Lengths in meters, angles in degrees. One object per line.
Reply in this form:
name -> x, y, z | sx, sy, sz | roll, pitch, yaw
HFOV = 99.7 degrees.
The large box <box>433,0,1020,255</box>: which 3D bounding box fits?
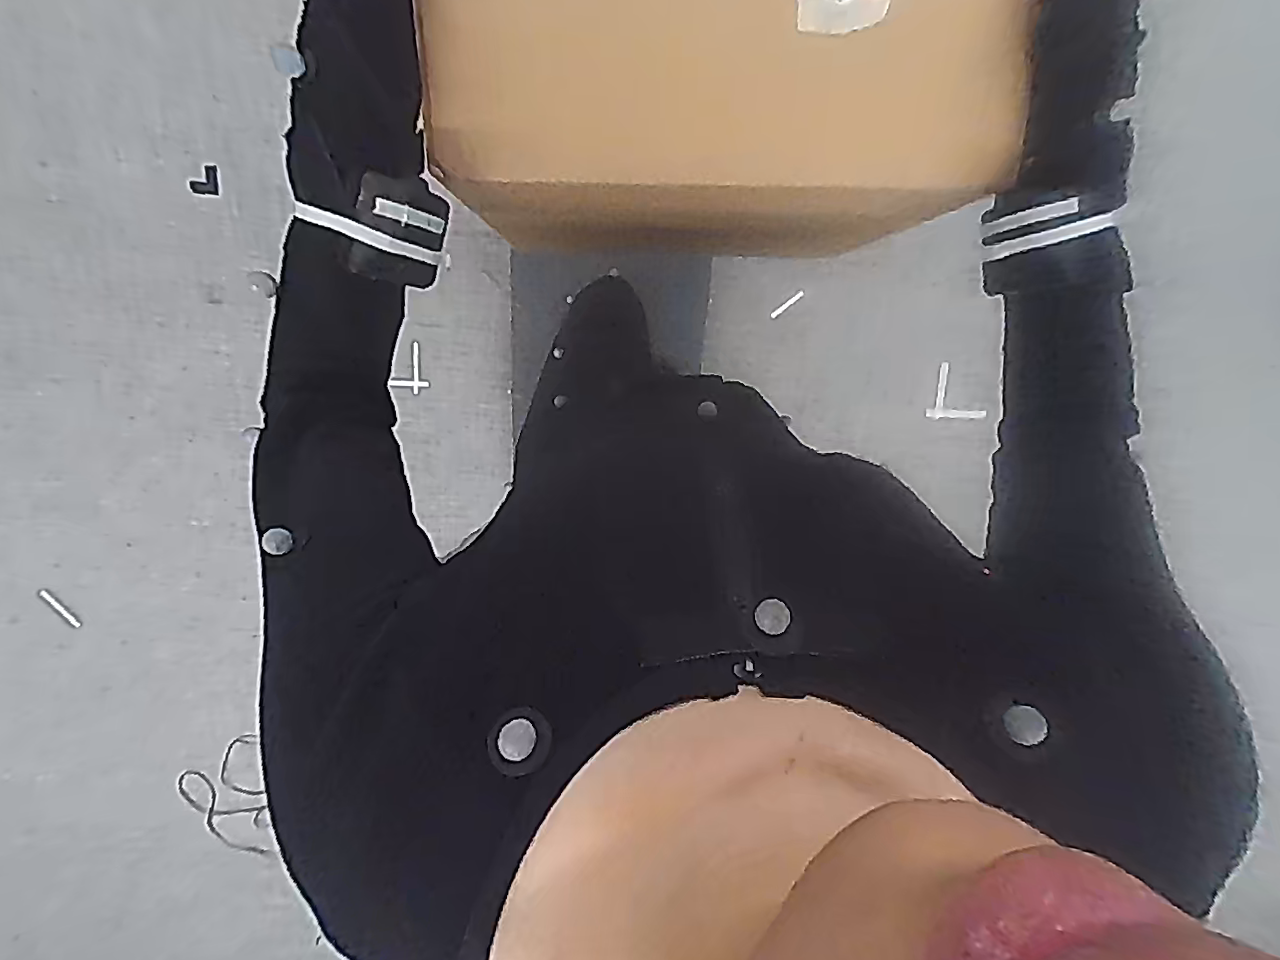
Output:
large box -> 0.052, -0.398, 0.495 | 0.408, 0.320, 0.320 | -1, 104, -3
